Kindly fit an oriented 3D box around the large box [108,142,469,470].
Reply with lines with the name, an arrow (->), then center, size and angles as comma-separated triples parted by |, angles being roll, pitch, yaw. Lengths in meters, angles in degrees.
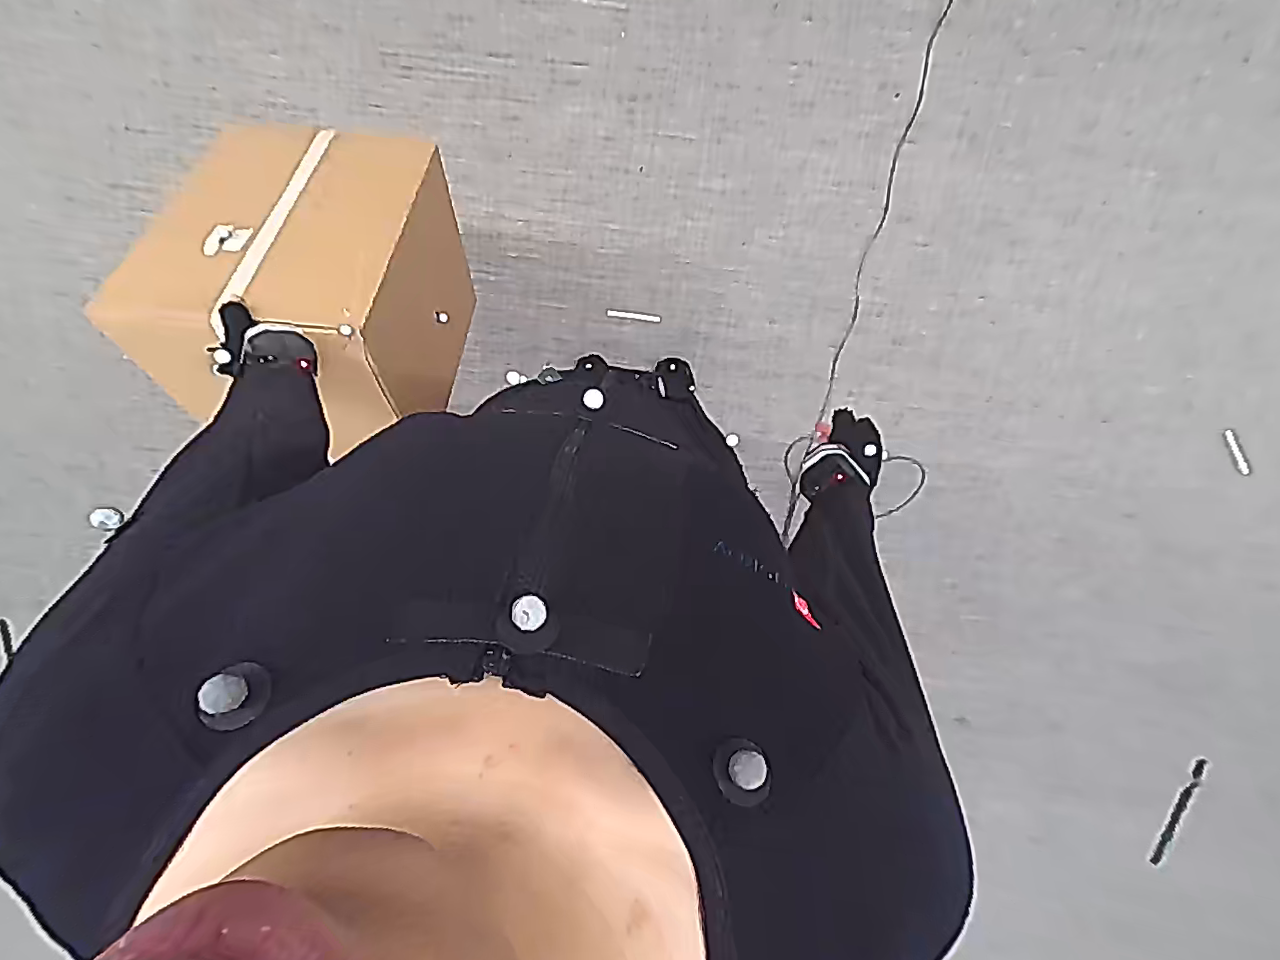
large box -> -0.486, -0.268, 0.869 | 0.320, 0.320, 0.408 | 2, 60, -2
